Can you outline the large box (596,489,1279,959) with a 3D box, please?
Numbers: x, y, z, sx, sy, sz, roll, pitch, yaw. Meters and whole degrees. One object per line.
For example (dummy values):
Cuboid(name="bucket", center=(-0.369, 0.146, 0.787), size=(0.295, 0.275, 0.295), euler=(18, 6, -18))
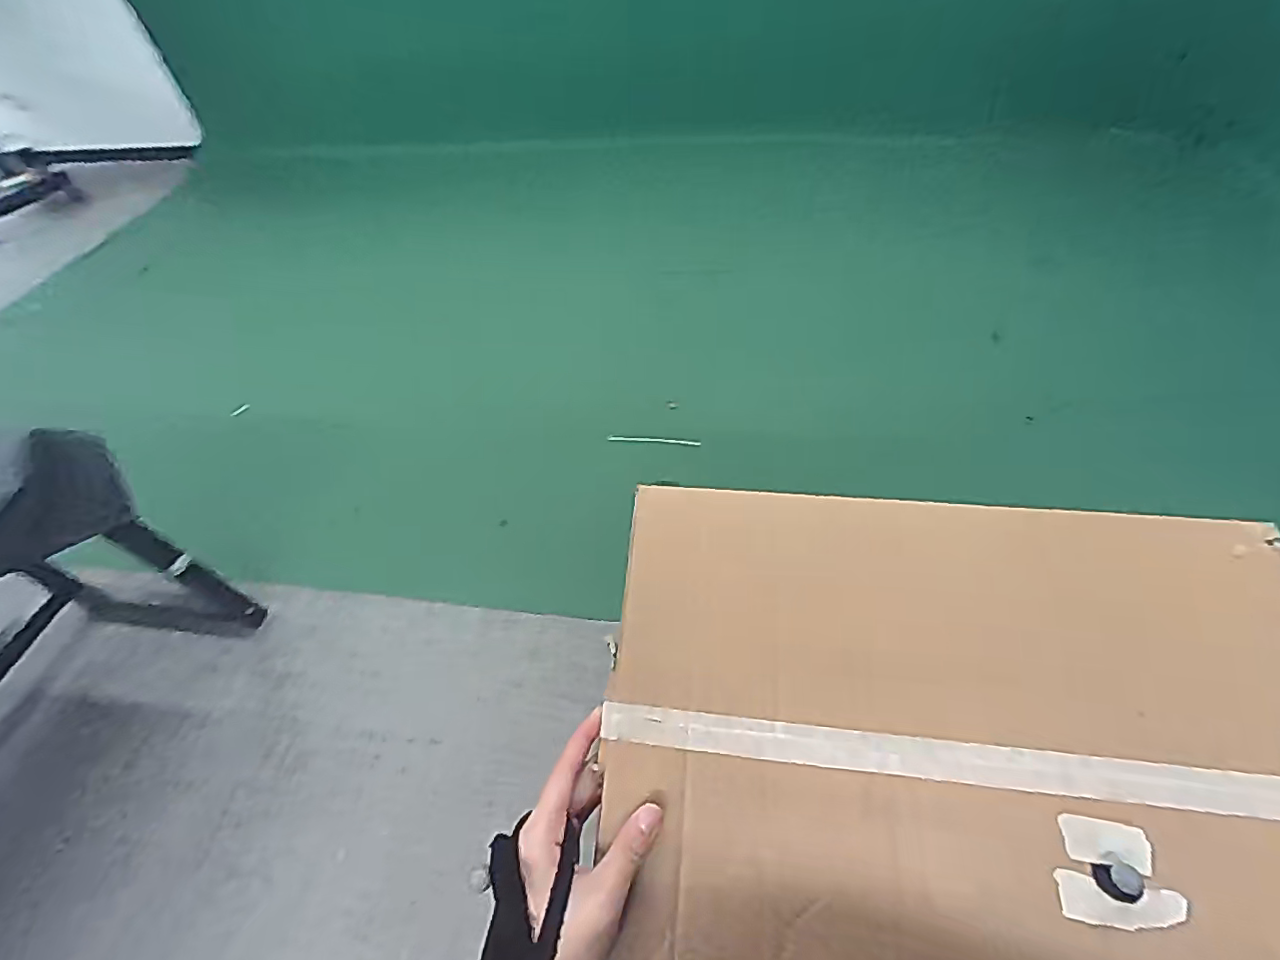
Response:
Cuboid(name="large box", center=(0.191, 0.213, 0.459), size=(0.408, 0.320, 0.320), euler=(3, 68, 6))
